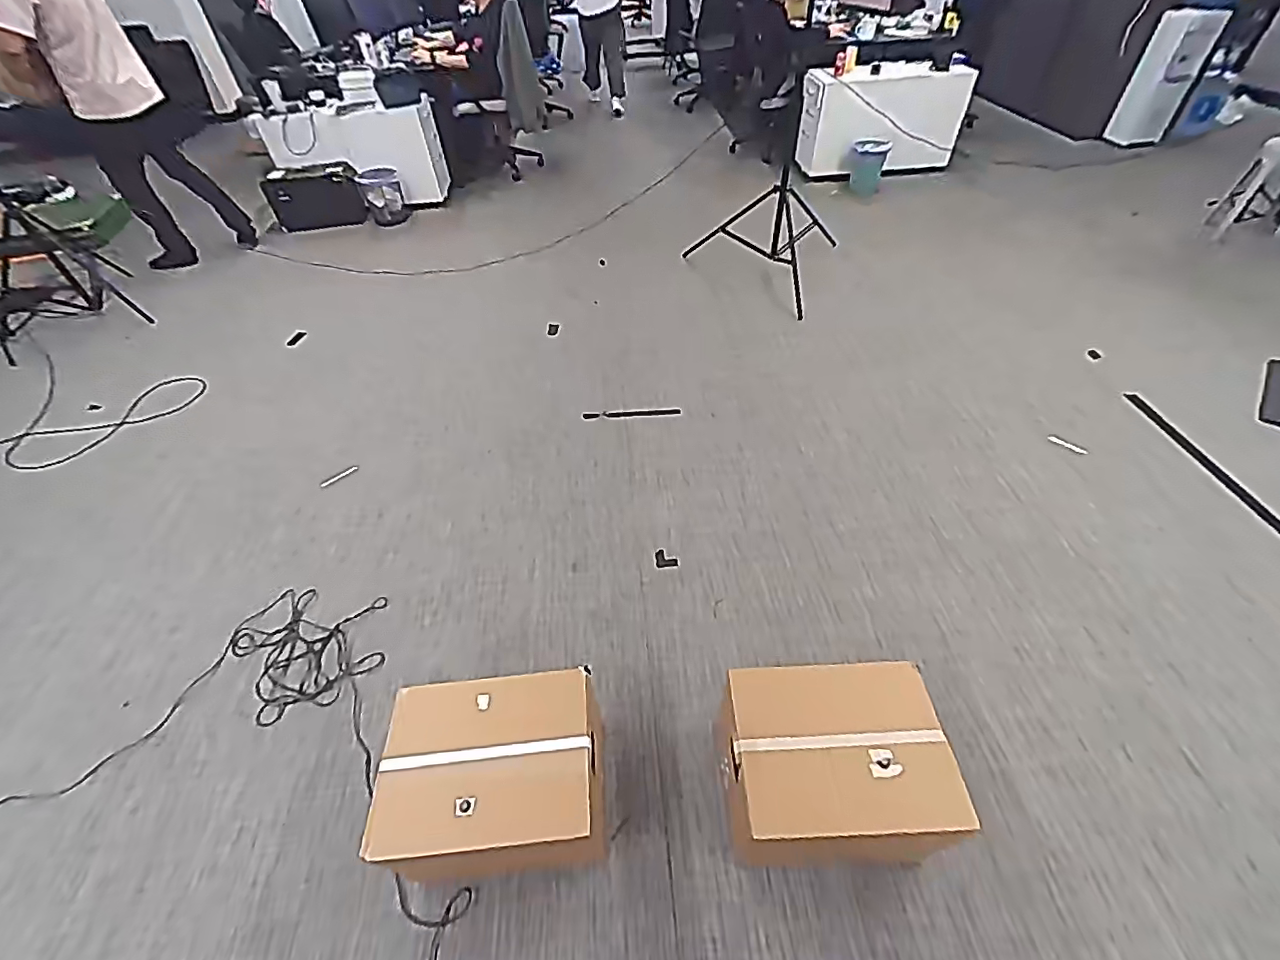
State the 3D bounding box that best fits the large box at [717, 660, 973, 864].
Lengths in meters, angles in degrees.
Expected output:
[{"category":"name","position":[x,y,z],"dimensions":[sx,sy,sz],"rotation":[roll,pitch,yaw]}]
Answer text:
[{"category":"large box","position":[0.397,0.612,1.172],"dimensions":[0.408,0.320,0.320],"rotation":[-2,47,0]}]
